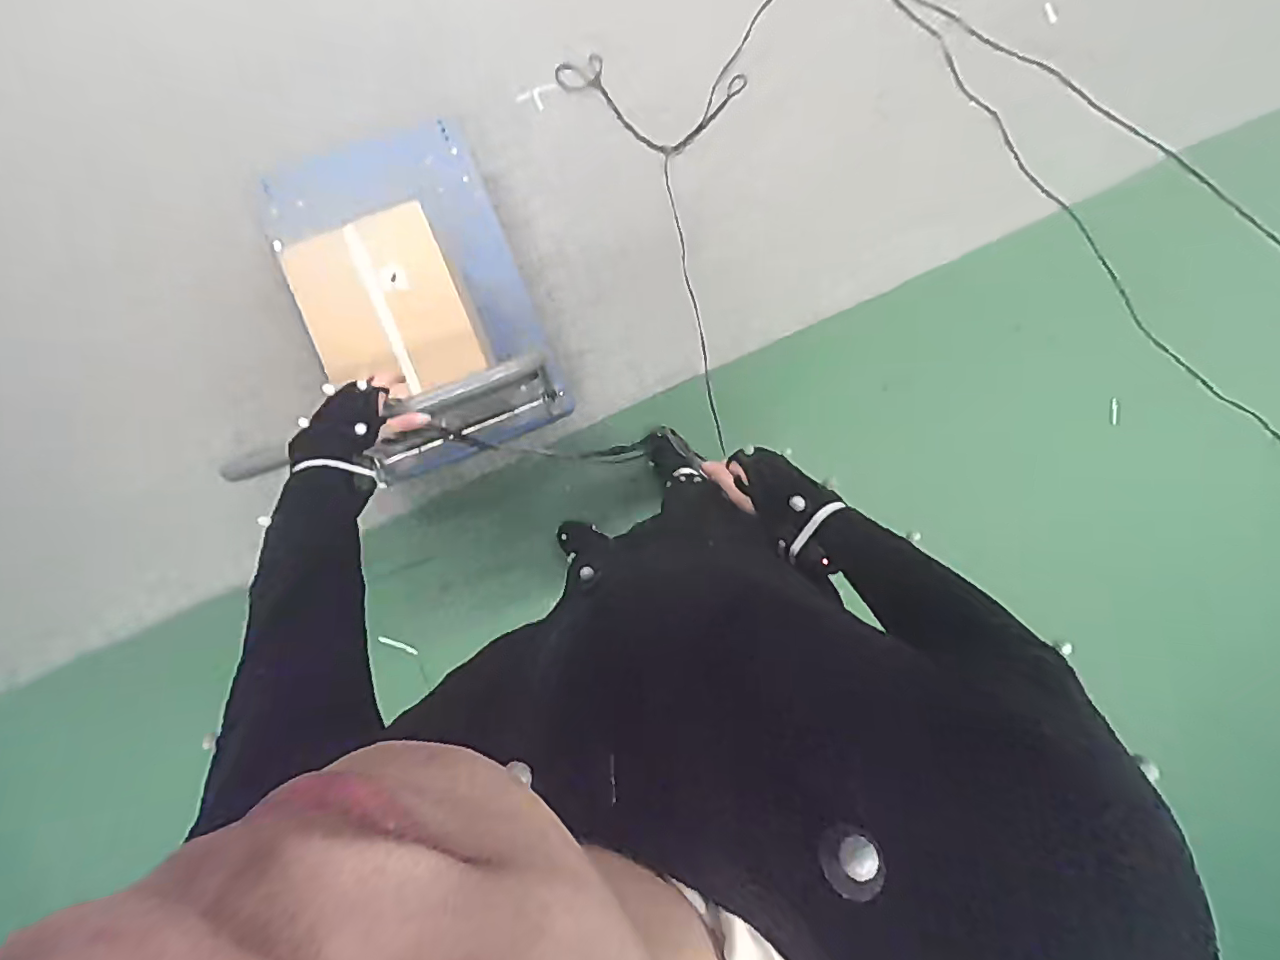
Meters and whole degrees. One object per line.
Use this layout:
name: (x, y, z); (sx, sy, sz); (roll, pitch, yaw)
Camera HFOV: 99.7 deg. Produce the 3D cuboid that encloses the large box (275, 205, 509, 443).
large box: (-0.549, -0.339, 1.278); (0.320, 0.320, 0.408); (-23, 90, -6)
